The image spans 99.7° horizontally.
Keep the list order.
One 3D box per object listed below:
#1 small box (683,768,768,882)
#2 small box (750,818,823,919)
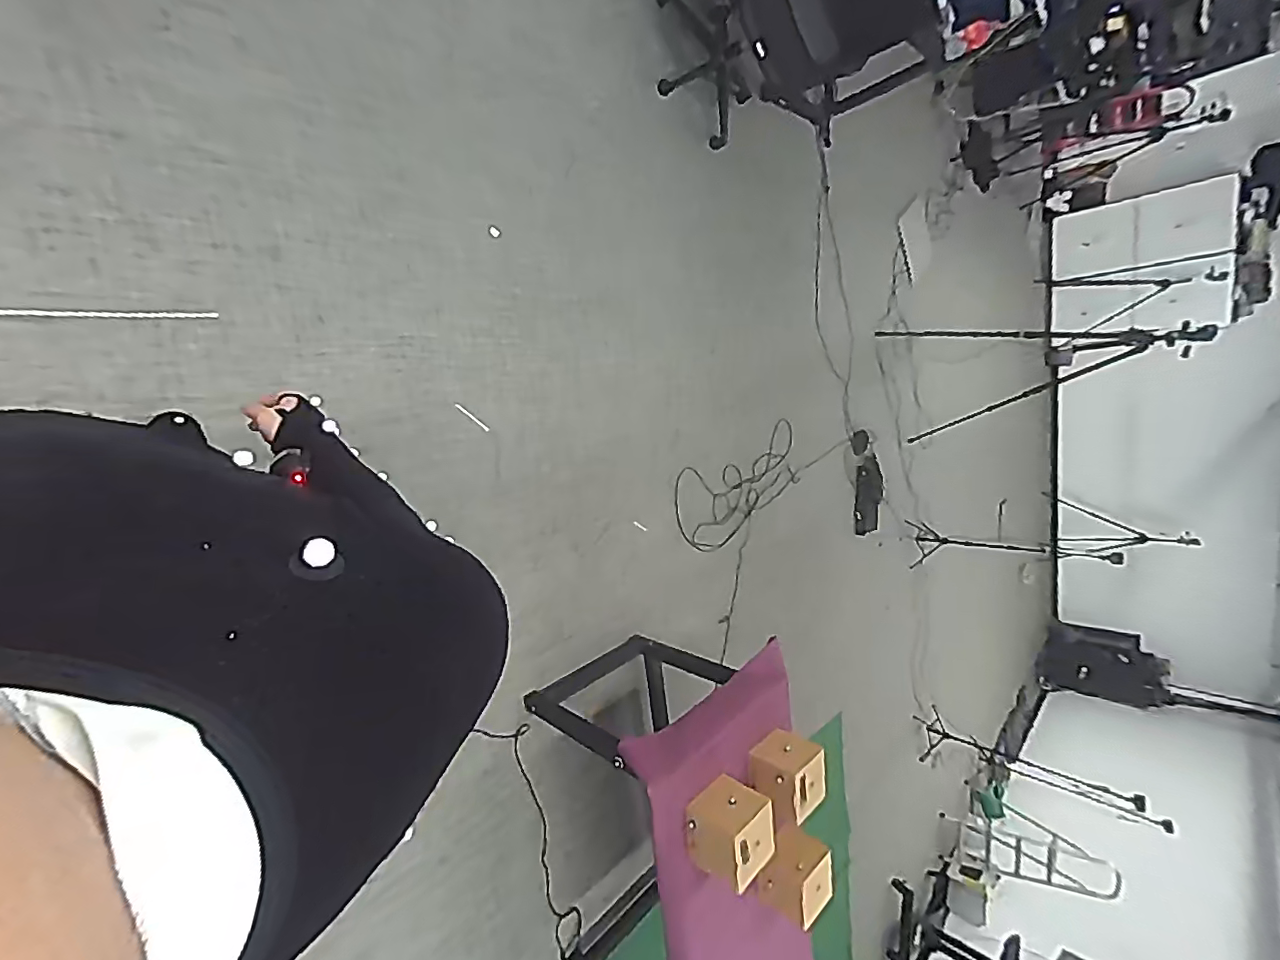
[{"bbox_3d":[0.232,0.942,1.495,0.179,0.176,0.168,-14,102,-44],"label":"small box"},{"bbox_3d":[0.477,1.249,1.758,0.179,0.176,0.168,-11,100,-42],"label":"small box"}]
